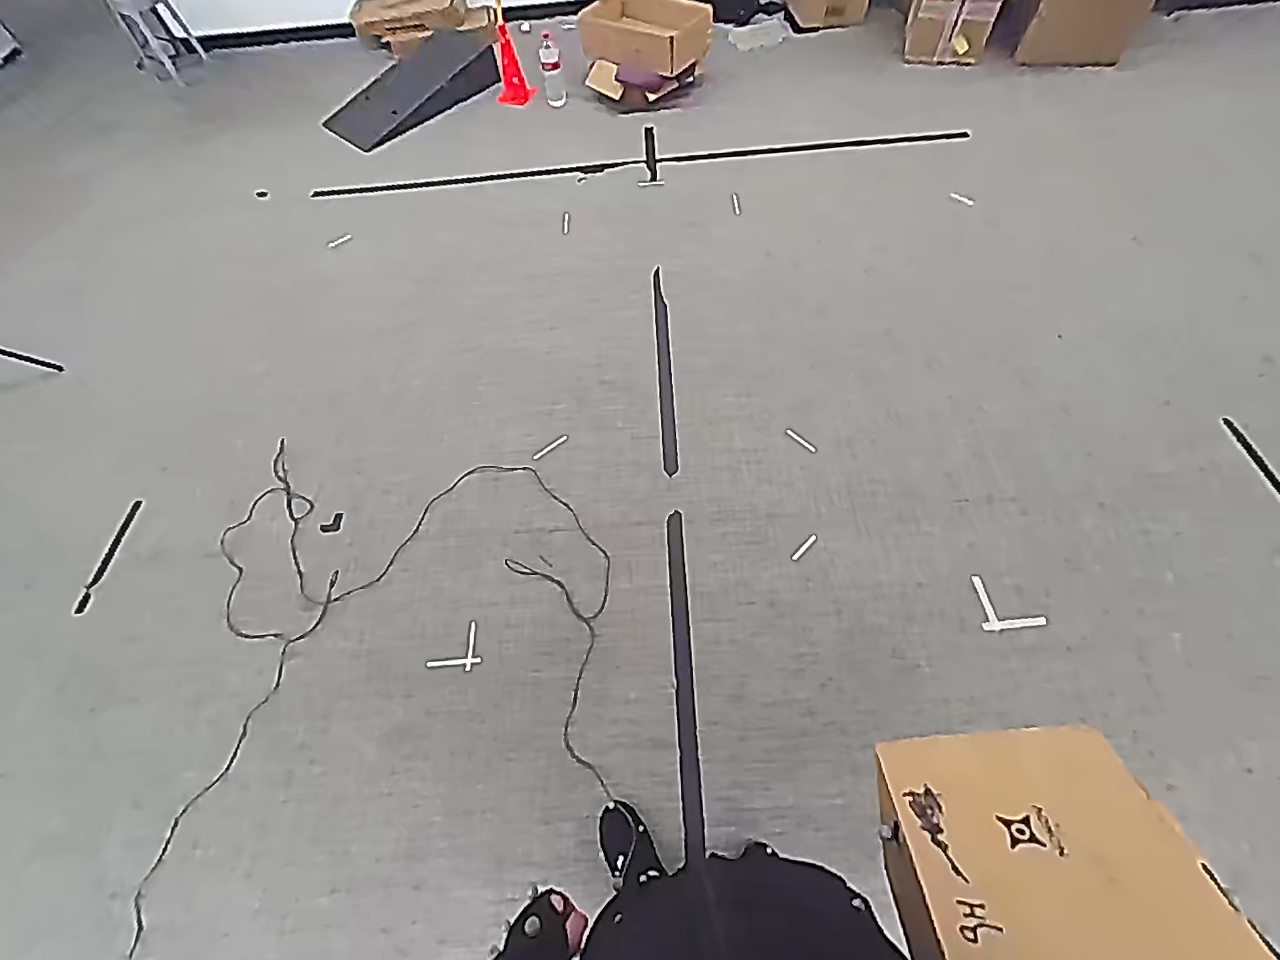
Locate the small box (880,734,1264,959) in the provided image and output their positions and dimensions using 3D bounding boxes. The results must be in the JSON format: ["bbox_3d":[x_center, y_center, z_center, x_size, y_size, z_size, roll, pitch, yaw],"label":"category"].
[{"bbox_3d":[0.303,0.331,0.425,0.179,0.176,0.168,-9,23,11],"label":"small box"}]
